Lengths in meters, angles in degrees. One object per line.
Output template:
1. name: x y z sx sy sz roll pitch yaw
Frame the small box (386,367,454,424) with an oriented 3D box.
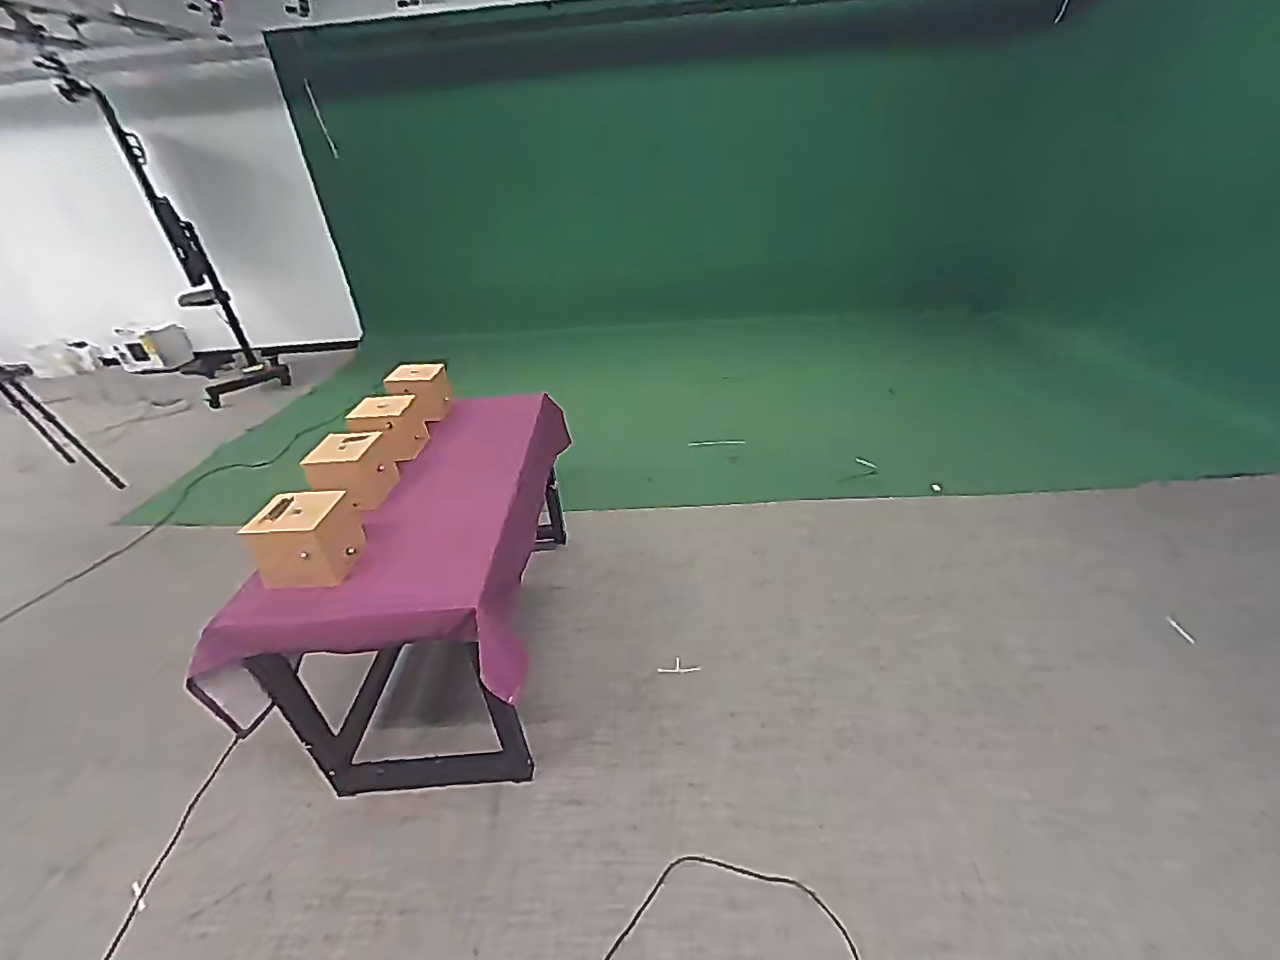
1. small box: -0.836 -0.322 2.069 0.179 0.176 0.168 0 33 2

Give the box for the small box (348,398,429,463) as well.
1. small box: -0.841 -0.165 1.827 0.179 0.176 0.168 -3 32 1

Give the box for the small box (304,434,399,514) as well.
1. small box: -0.833 -0.018 1.585 0.168 0.176 0.179 -3 33 3
